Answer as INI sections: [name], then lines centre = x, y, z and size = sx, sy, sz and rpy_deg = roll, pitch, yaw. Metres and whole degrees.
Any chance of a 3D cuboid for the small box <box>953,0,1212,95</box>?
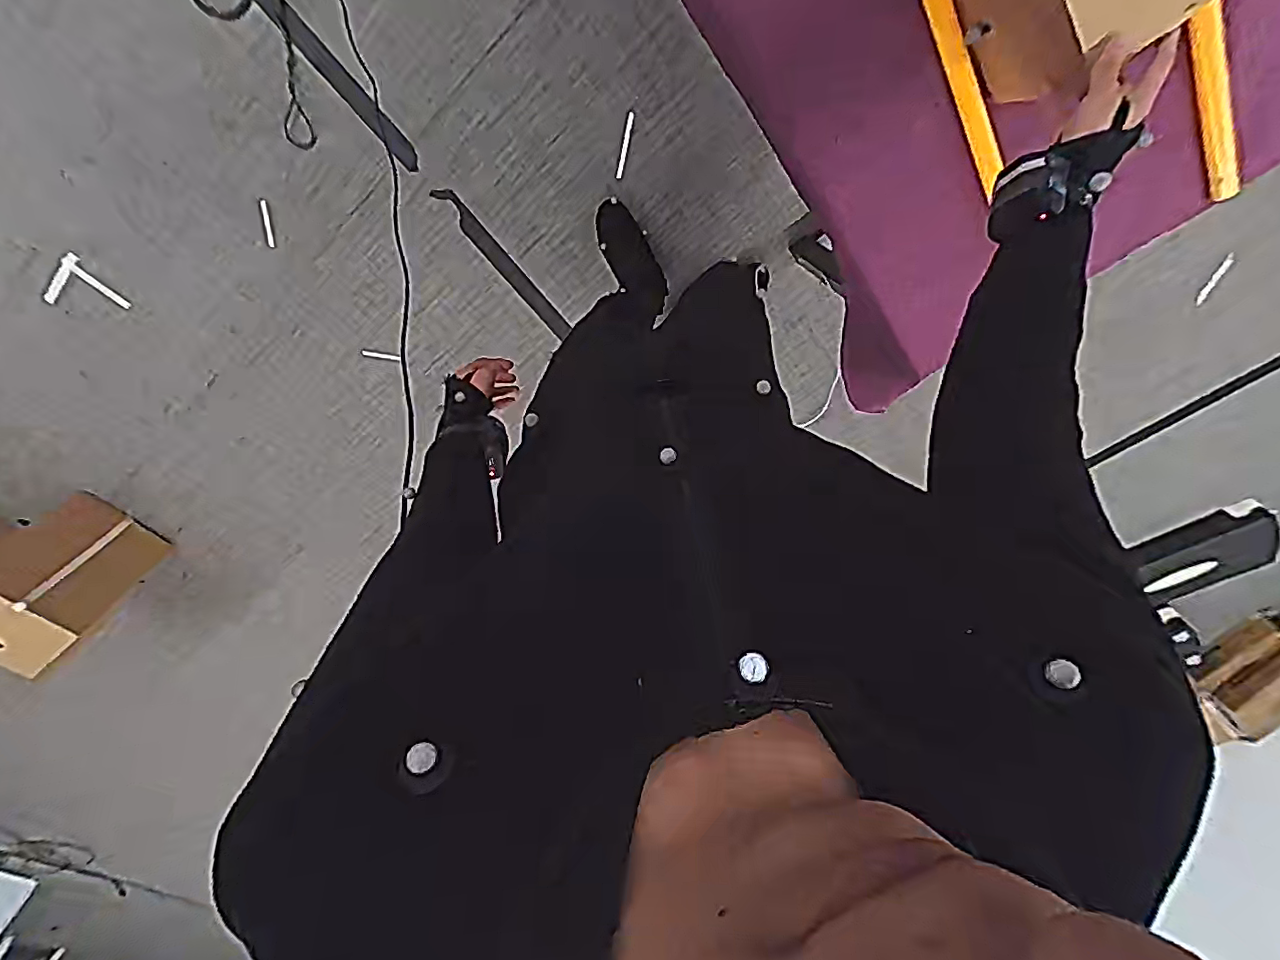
[small box]
centre = 0.422, -0.502, 0.506
size = 0.168, 0.176, 0.179
rpy_deg = -36, 116, 20
